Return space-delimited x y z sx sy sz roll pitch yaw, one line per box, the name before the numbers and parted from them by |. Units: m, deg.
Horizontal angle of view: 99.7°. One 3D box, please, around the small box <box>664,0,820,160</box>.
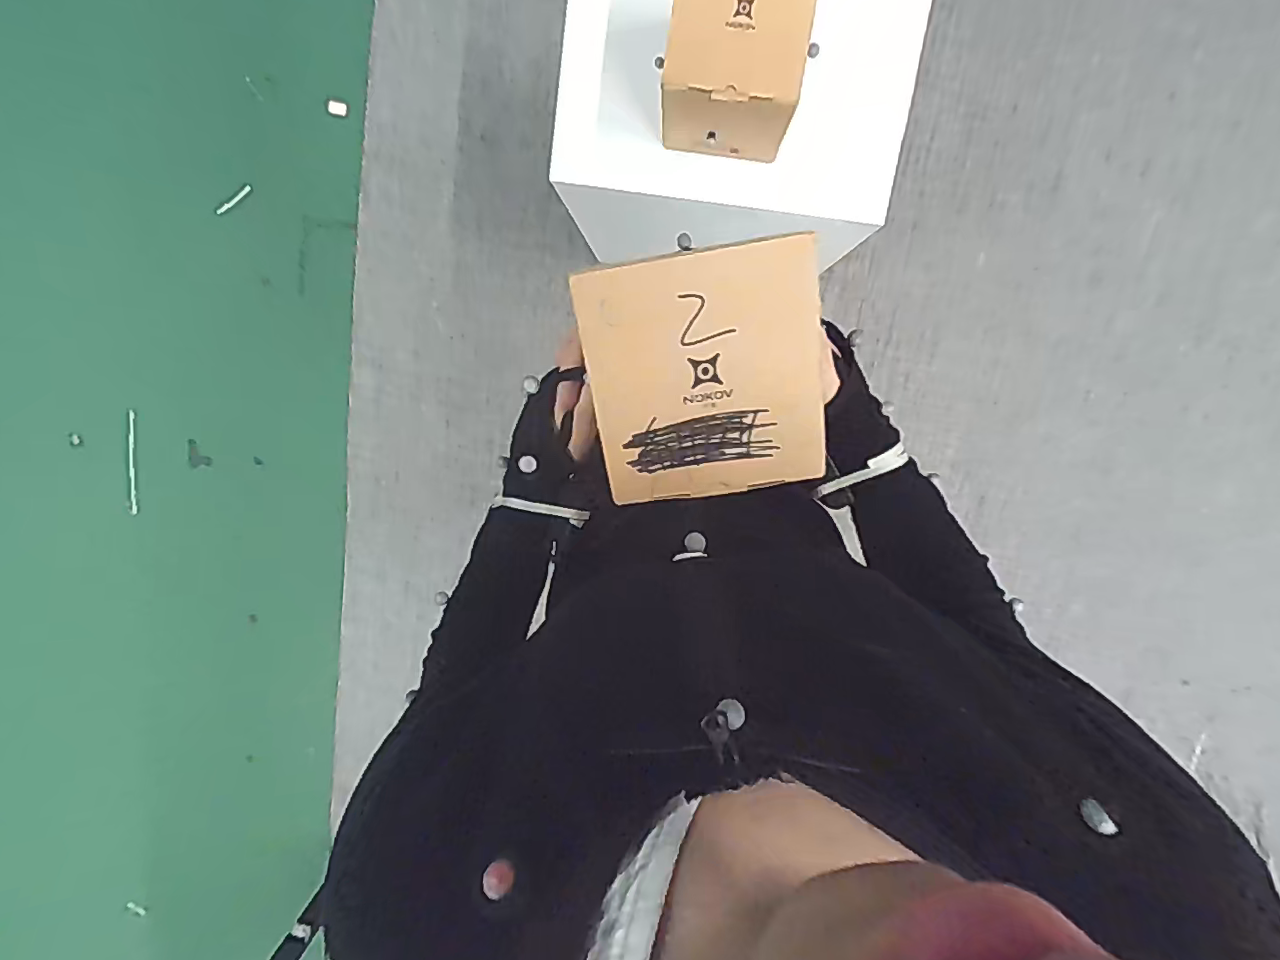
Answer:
small box | 0.123 -0.547 0.691 0.168 0.176 0.179 9 99 2
